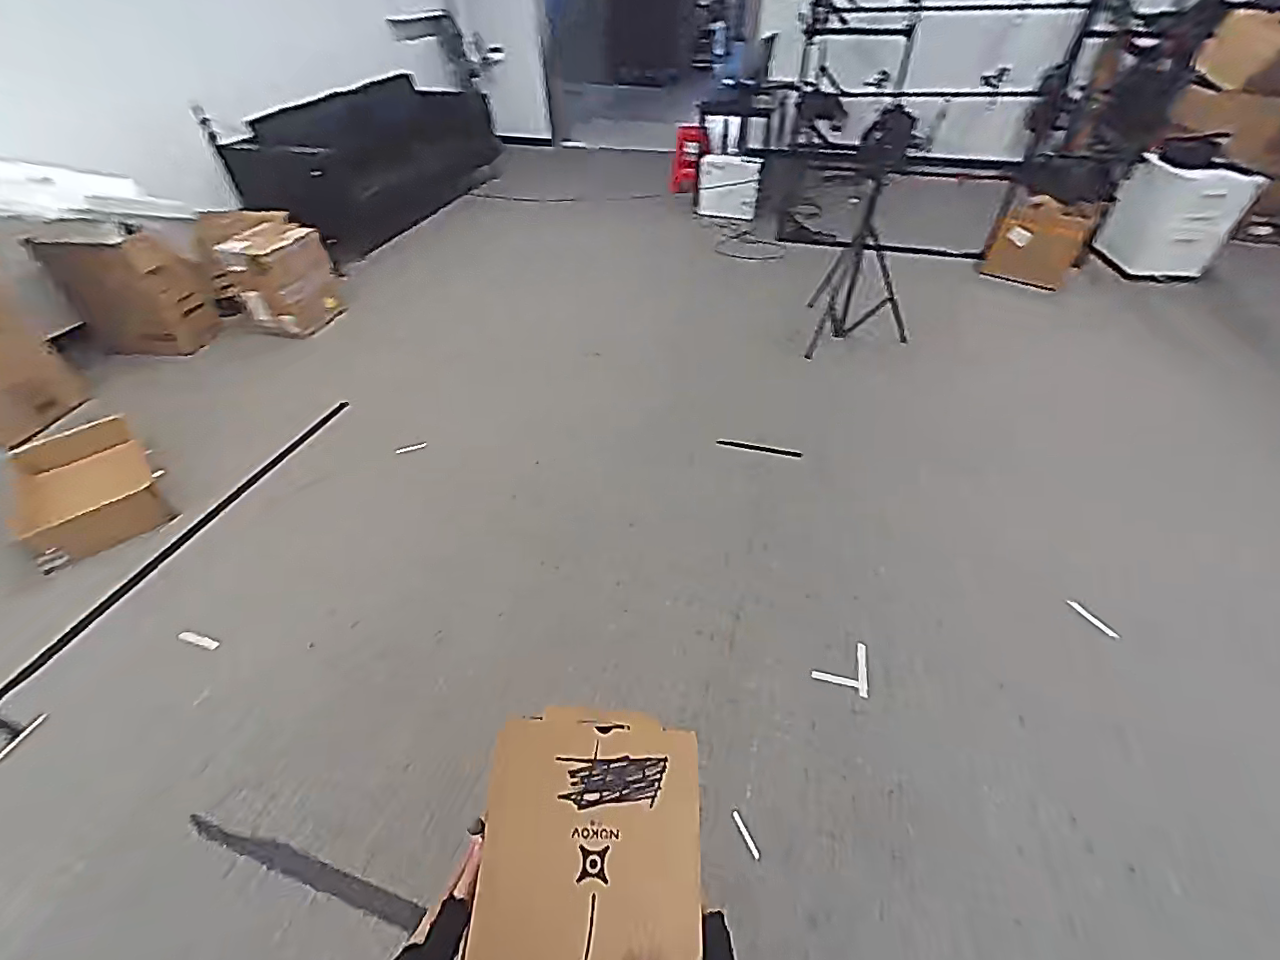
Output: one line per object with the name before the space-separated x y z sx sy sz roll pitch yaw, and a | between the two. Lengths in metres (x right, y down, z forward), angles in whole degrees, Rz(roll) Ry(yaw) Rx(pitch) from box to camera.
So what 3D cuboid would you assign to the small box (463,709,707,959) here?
small box | -0.050 0.315 0.461 0.168 0.176 0.179 12 54 -10
